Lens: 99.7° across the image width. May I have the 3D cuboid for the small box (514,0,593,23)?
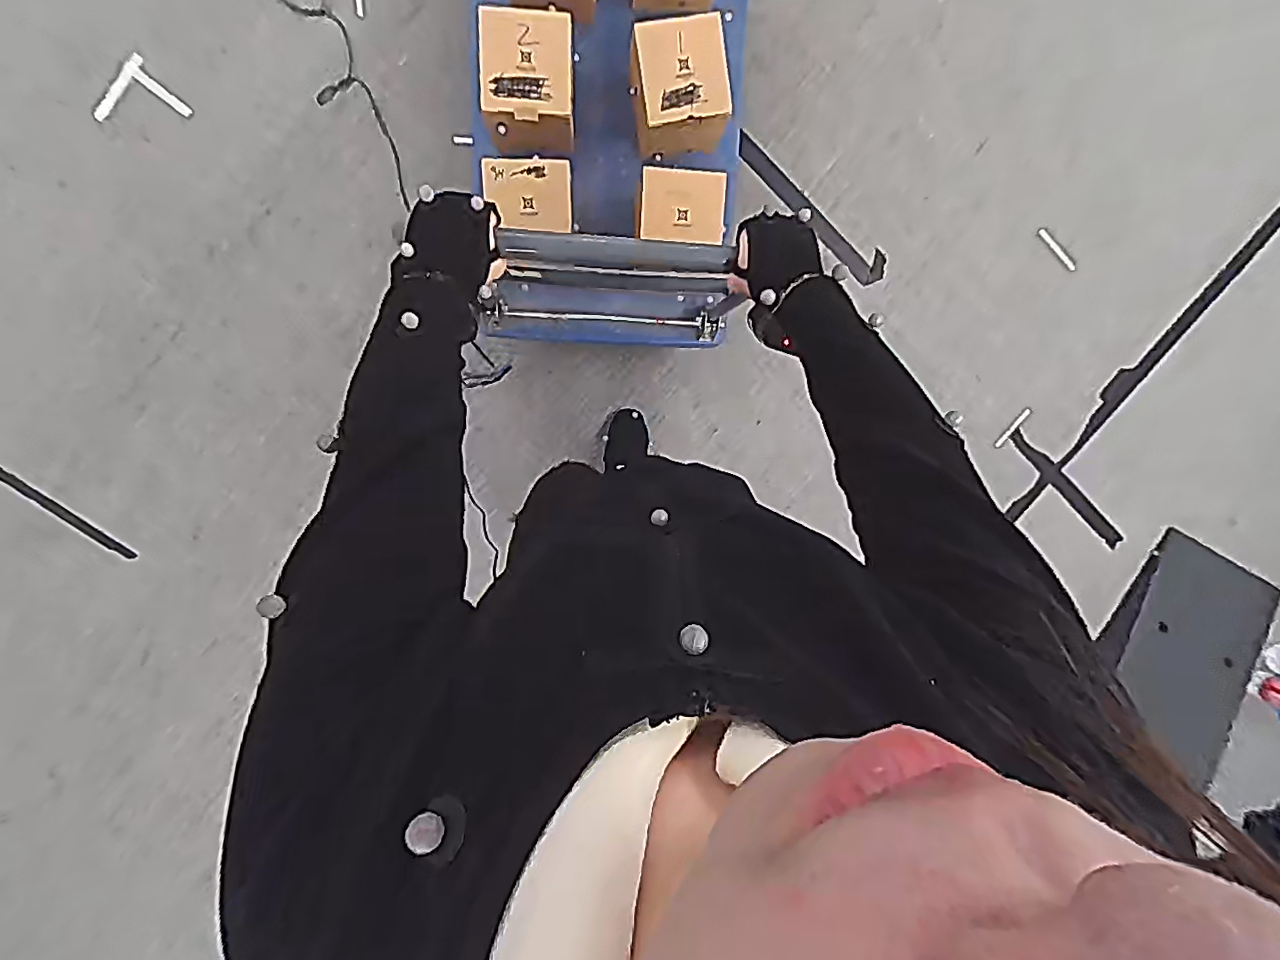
[{"bbox_3d":[-0.166,-1.027,1.025,0.168,0.176,0.179,3,100,-6],"label":"small box"}]

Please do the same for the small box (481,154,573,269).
[{"bbox_3d":[-0.223,-0.538,1.106,0.168,0.176,0.179,-2,100,-6],"label":"small box"}]

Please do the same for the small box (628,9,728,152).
[{"bbox_3d":[0.071,-0.789,1.090,0.168,0.176,0.179,-10,100,-3],"label":"small box"}]

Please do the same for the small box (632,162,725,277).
[{"bbox_3d":[0.073,-0.535,1.136,0.168,0.176,0.179,2,99,-6],"label":"small box"}]

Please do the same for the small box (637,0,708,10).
[{"bbox_3d":[0.066,-1.058,1.043,0.168,0.176,0.179,-1,100,-5],"label":"small box"}]
